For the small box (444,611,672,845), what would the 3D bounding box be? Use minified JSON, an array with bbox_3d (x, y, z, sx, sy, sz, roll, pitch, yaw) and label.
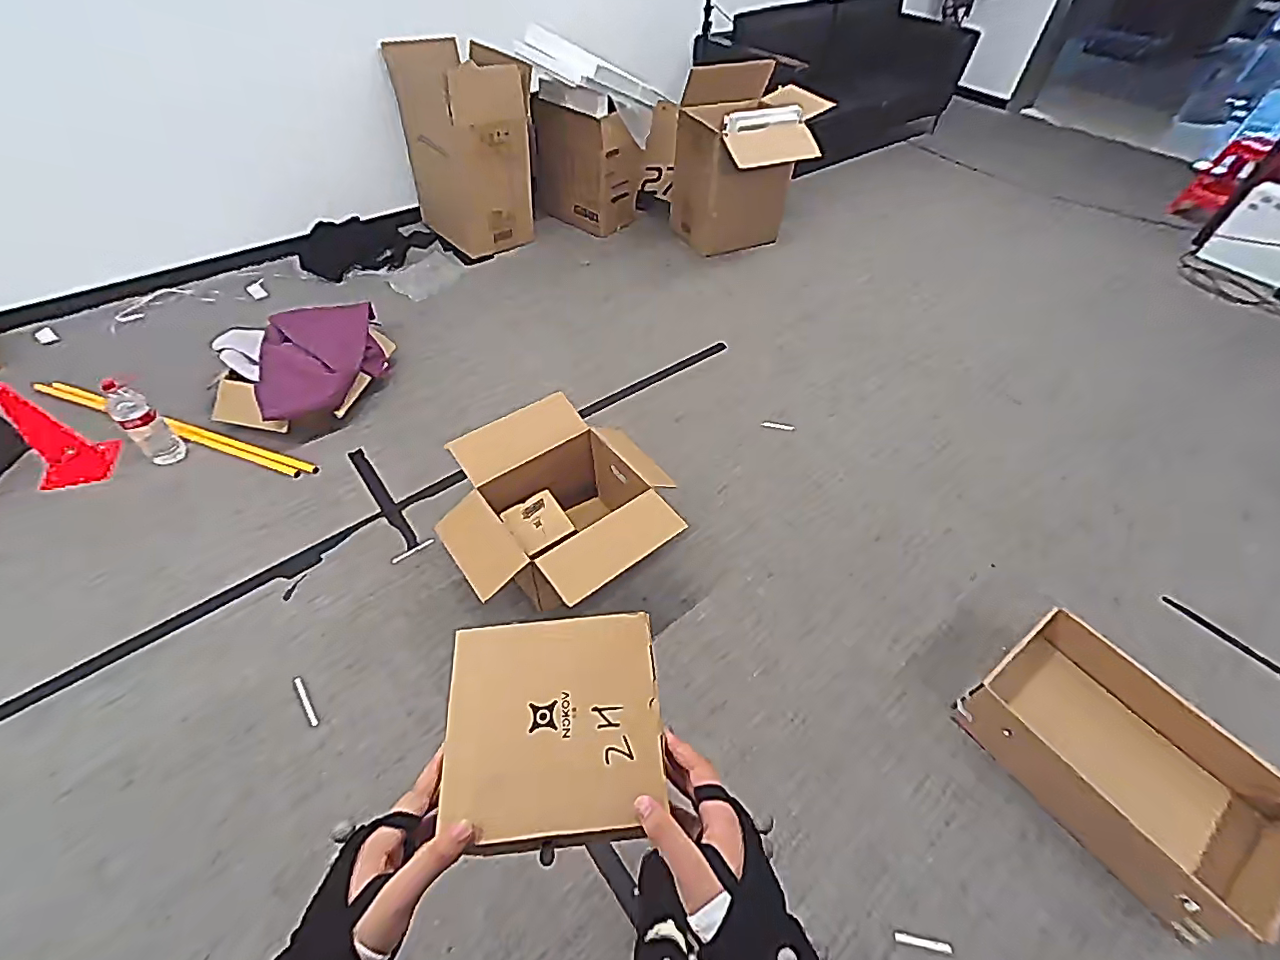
[{"bbox_3d":[-0.068,0.241,0.517,0.179,0.176,0.168,-4,55,-4],"label":"small box"}]
